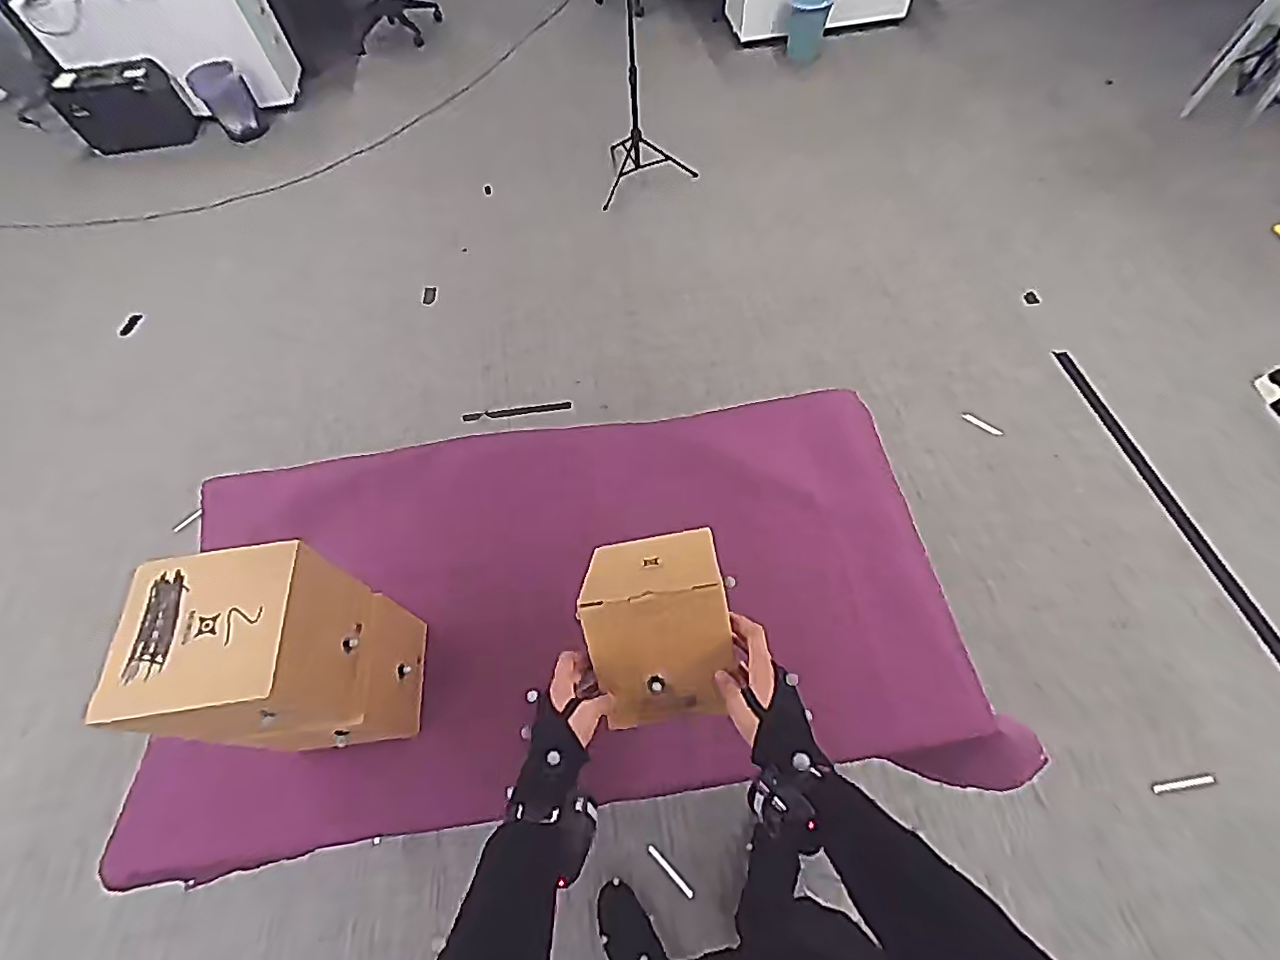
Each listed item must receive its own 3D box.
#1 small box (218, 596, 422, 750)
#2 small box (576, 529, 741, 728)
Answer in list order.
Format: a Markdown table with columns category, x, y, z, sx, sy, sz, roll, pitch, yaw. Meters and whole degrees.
| category | x | y | z | sx | sy | sz | roll | pitch | yaw |
| --- | --- | --- | --- | --- | --- | --- | --- | --- | --- |
| small box | -0.422 | 0.273 | 0.752 | 0.179 | 0.176 | 0.168 | -7 | 60 | -1 |
| small box | 0.027 | 0.183 | 0.692 | 0.168 | 0.176 | 0.179 | -11 | 17 | 5 |
